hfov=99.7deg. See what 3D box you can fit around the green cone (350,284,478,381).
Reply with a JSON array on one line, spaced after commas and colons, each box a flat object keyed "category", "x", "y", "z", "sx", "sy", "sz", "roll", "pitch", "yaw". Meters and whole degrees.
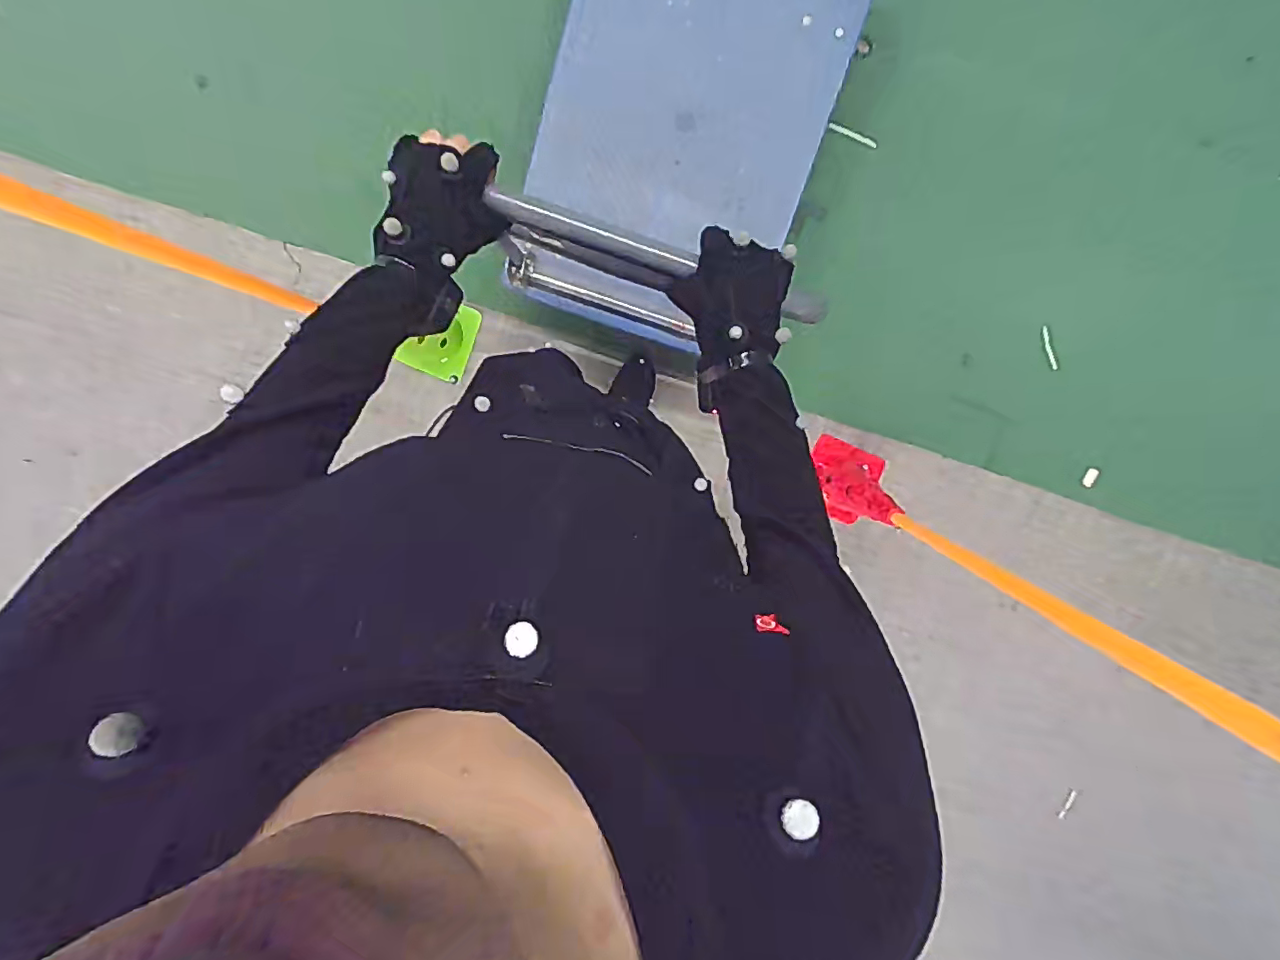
[{"category": "green cone", "x": -0.540, "y": -0.347, "z": 1.231, "sx": 0.202, "sy": 0.368, "sz": 0.200, "roll": 22, "pitch": 101, "yaw": -3}]
